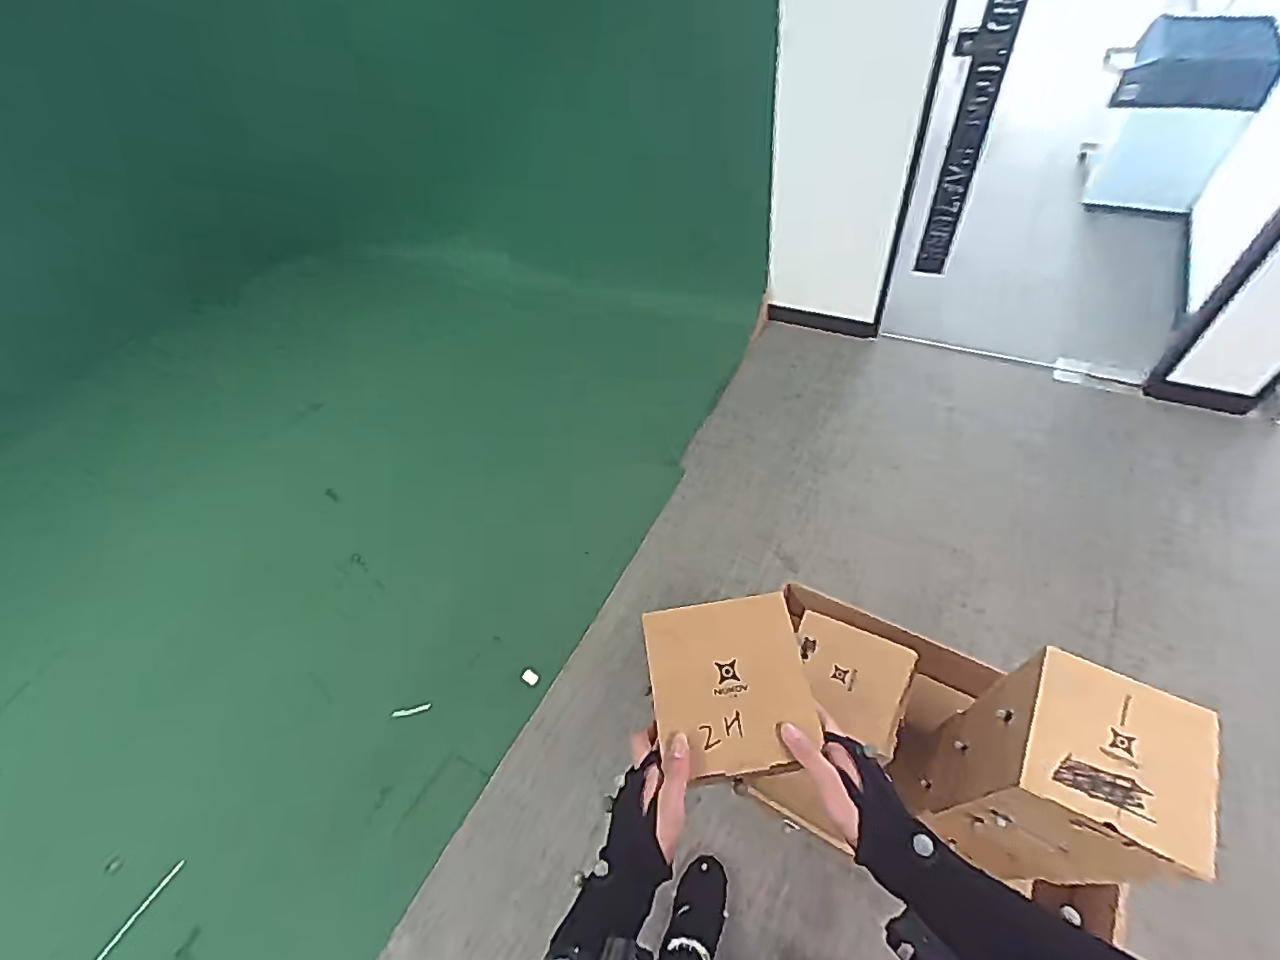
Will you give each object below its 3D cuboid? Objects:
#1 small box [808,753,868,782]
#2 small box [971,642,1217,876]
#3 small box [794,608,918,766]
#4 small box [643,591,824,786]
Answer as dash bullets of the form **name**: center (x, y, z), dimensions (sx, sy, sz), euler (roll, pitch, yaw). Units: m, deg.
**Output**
- **small box**: center (0.344, 0.437, 1.012), dimensions (0.179, 0.176, 0.168), euler (22, 61, 22)
- **small box**: center (0.522, 0.332, 0.644), dimensions (0.168, 0.176, 0.179), euler (22, 60, 24)
- **small box**: center (0.321, 0.342, 0.881), dimensions (0.179, 0.176, 0.168), euler (20, 60, 22)
- **small box**: center (0.097, 0.252, 0.640), dimensions (0.168, 0.176, 0.179), euler (-9, 59, 0)
